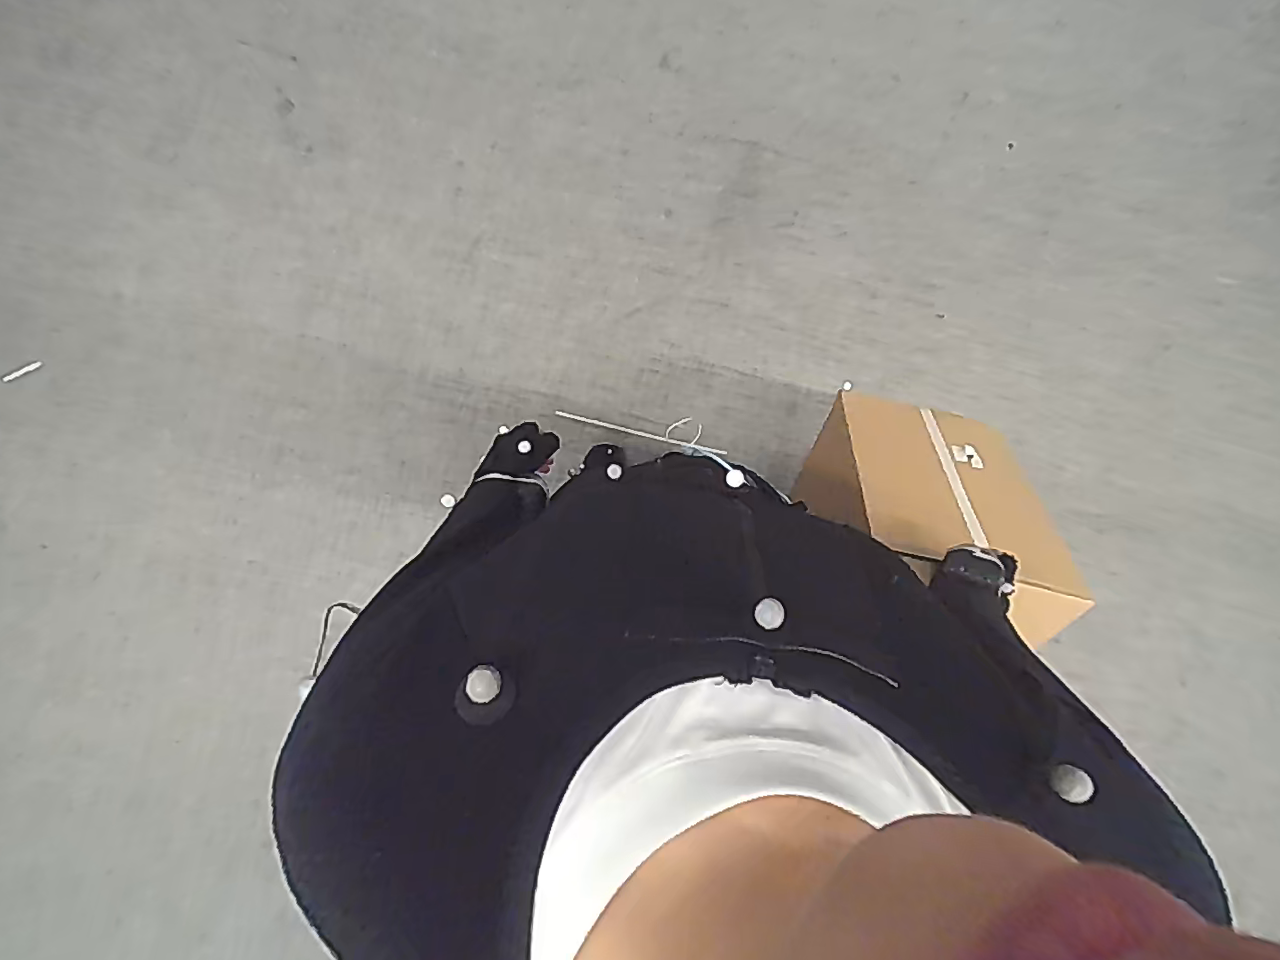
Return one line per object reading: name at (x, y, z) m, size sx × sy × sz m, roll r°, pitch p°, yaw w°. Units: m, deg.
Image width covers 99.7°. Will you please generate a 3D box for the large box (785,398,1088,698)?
large box at (0.469, 0.114, 0.980) m, size 0.320 × 0.408 × 0.320 m, roll 14°, pitch 132°, yaw 0°
